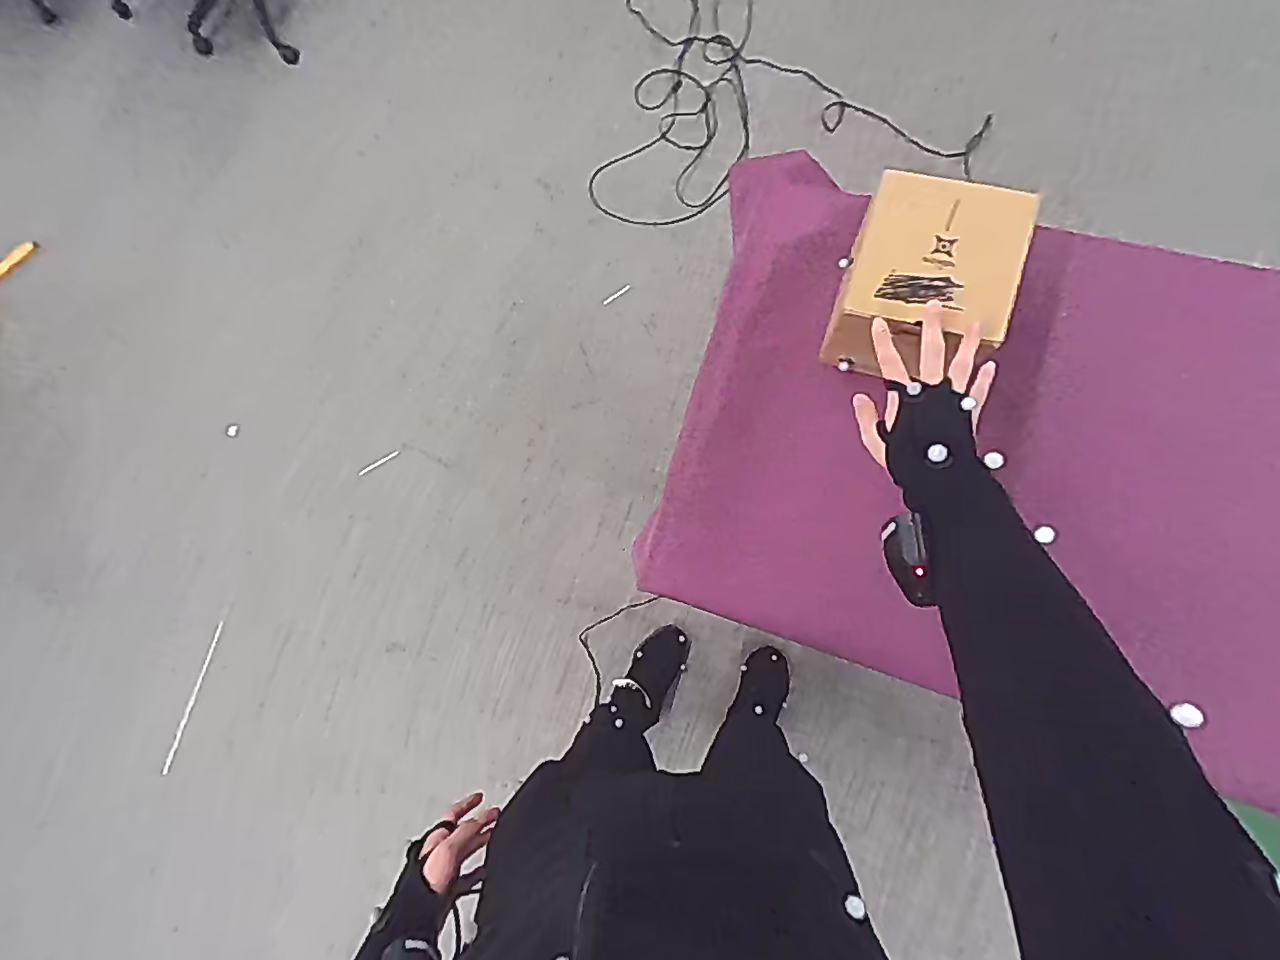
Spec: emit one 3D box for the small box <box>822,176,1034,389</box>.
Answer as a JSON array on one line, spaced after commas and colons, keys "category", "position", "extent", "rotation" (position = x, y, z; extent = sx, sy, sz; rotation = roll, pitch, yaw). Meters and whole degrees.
[{"category": "small box", "position": [0.335, -0.230, 0.668], "extent": [0.168, 0.176, 0.179], "rotation": [17, 84, 11]}]
